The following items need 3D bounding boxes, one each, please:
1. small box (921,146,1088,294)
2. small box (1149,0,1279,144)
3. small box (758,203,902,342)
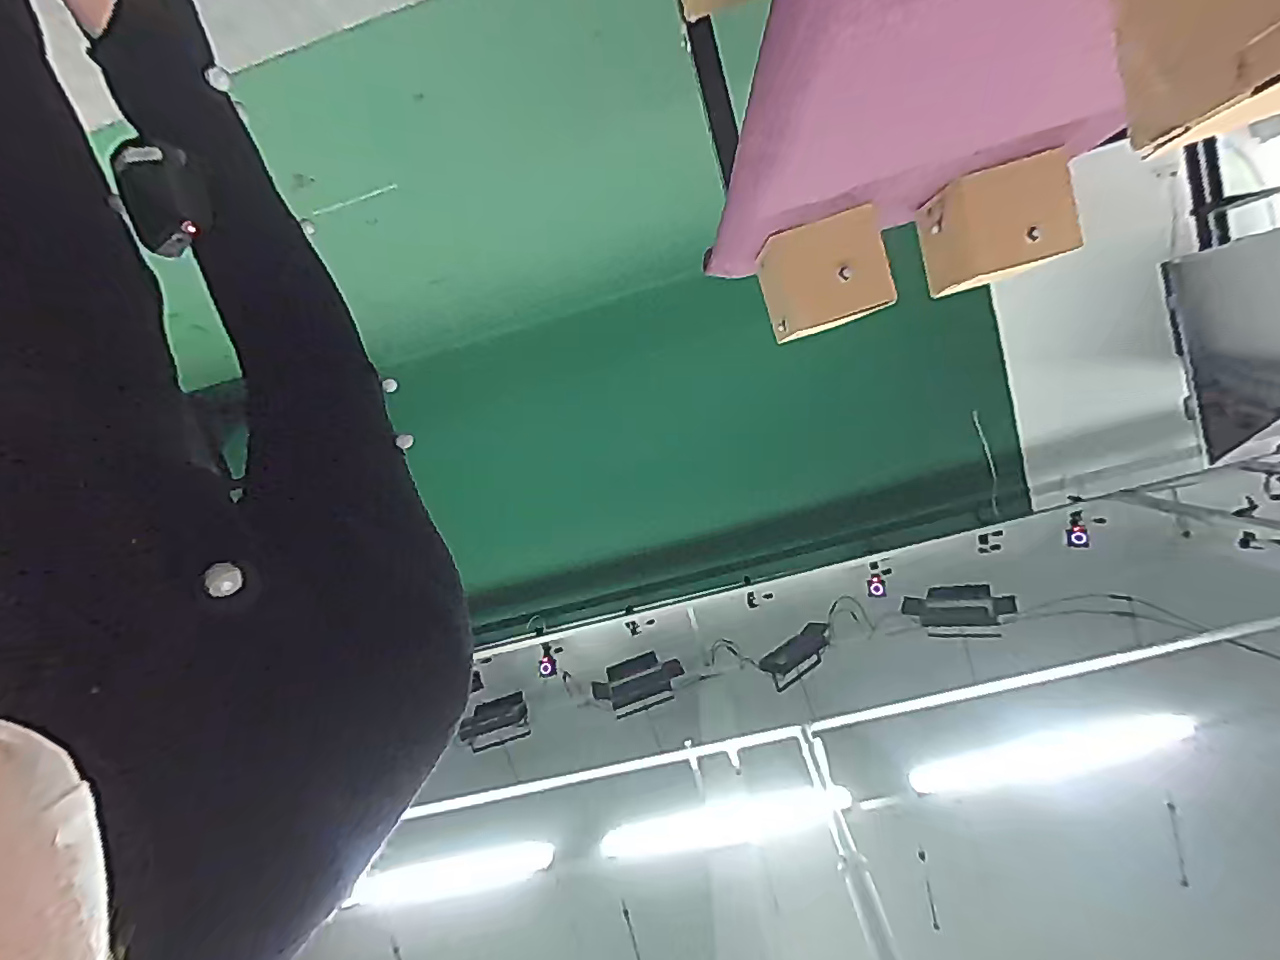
[{"bbox_3d":[0.635,-0.456,0.961,0.179,0.176,0.168,-15,-175,5],"label":"small box"},{"bbox_3d":[0.308,-0.260,0.175,0.179,0.176,0.168,-17,-173,9],"label":"small box"},{"bbox_3d":[0.333,-0.368,0.976,0.179,0.176,0.168,-19,-175,5],"label":"small box"}]
